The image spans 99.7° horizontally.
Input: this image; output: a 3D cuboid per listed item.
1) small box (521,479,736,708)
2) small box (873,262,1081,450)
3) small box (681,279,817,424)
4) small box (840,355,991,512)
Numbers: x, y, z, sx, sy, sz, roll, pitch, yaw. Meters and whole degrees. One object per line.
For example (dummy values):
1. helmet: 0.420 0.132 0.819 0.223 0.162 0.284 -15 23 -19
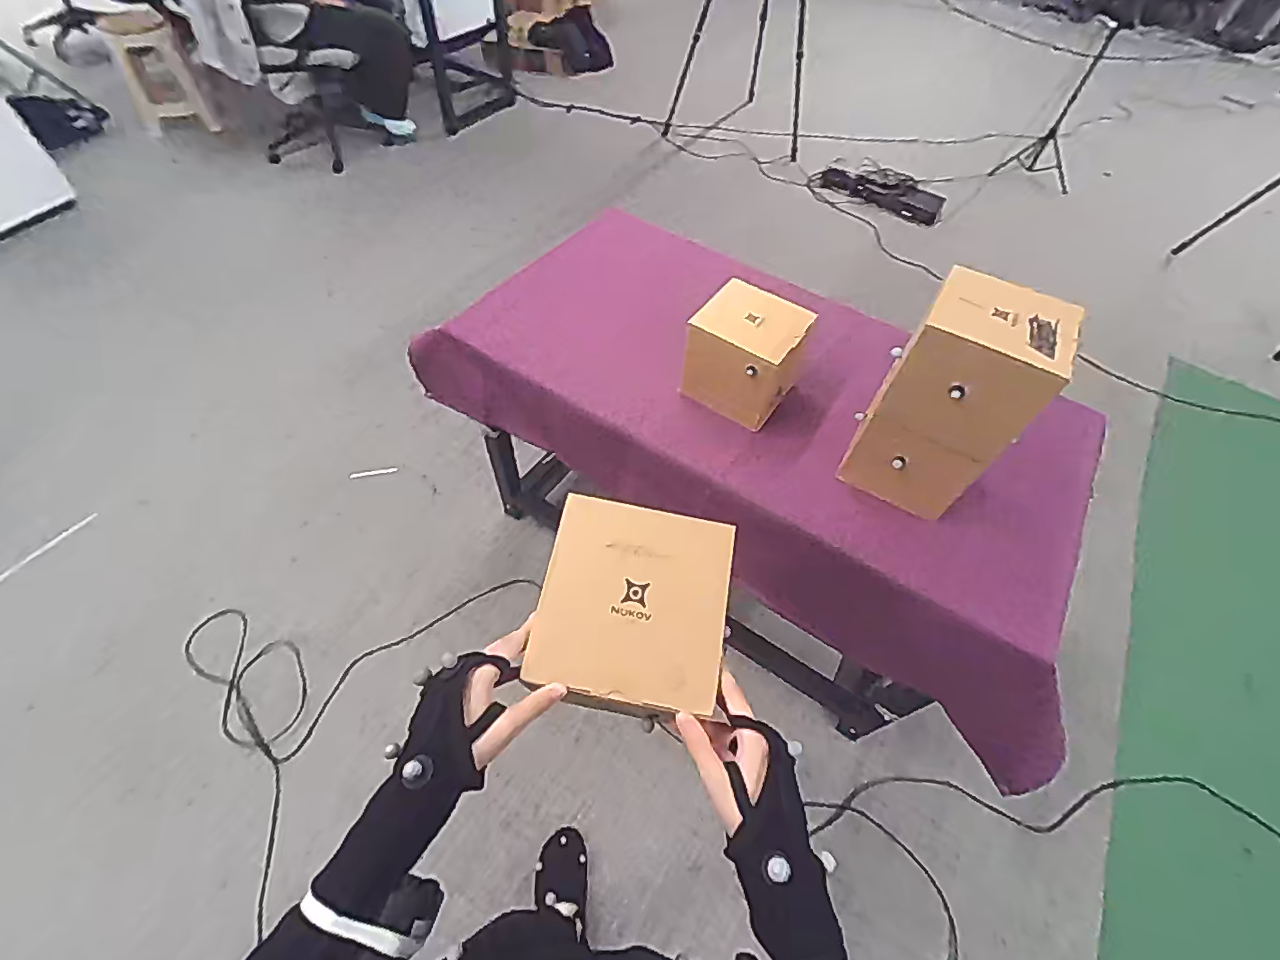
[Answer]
1. small box: -0.009 0.126 0.559 0.168 0.176 0.179 13 64 1
2. small box: 0.466 -0.168 0.765 0.179 0.176 0.168 28 57 16
3. small box: 0.192 -0.233 1.001 0.179 0.176 0.168 31 58 16
4. small box: 0.460 -0.074 0.901 0.179 0.176 0.168 27 57 16
